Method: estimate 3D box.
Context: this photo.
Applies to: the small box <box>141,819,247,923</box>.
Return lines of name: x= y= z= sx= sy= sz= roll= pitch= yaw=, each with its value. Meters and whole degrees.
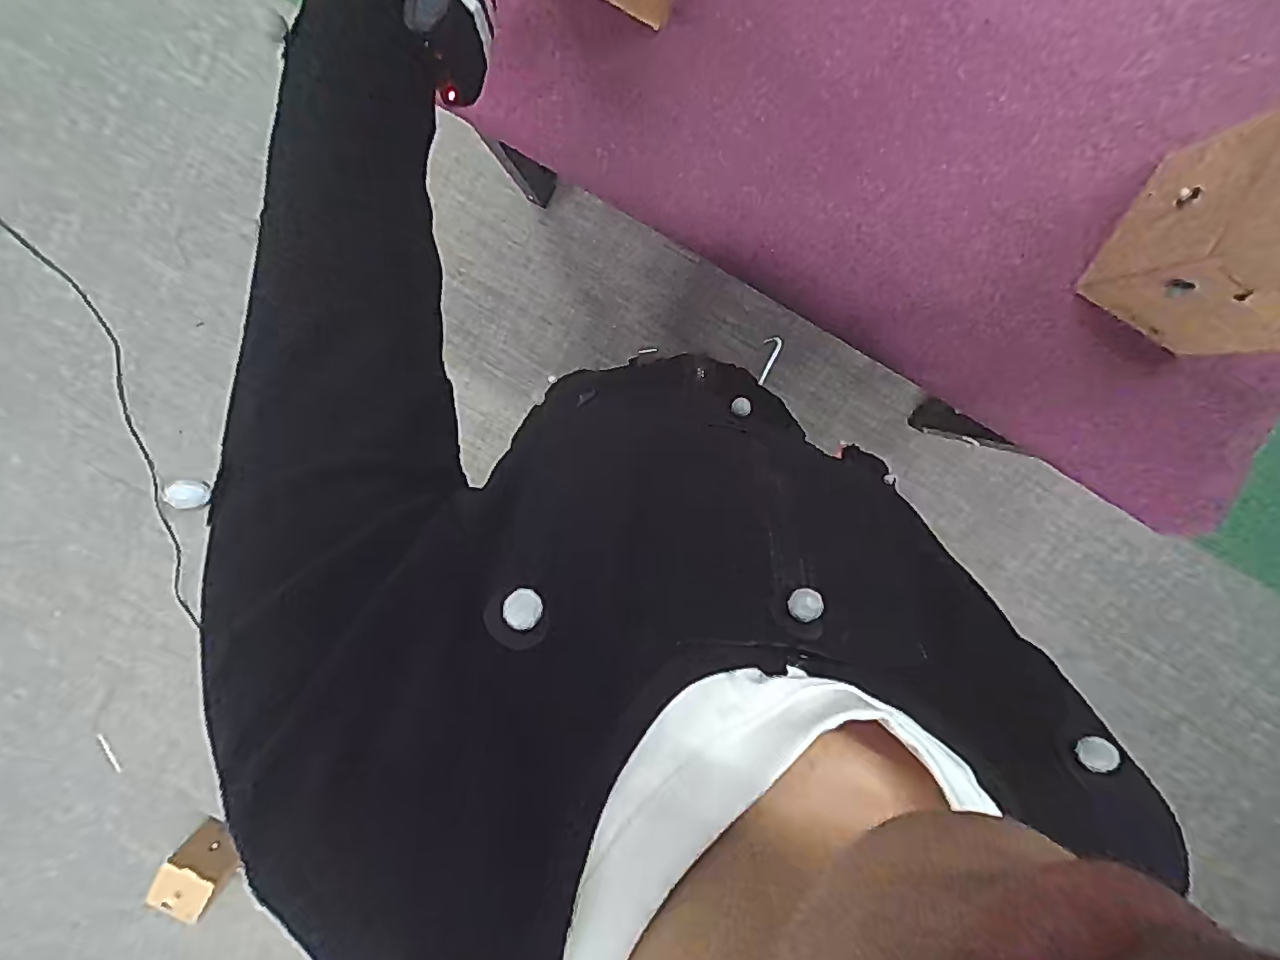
small box: x=-1.382 y=1.213 z=1.690 sx=0.168 sy=0.176 sz=0.179 roll=32 pitch=100 yaw=-5
